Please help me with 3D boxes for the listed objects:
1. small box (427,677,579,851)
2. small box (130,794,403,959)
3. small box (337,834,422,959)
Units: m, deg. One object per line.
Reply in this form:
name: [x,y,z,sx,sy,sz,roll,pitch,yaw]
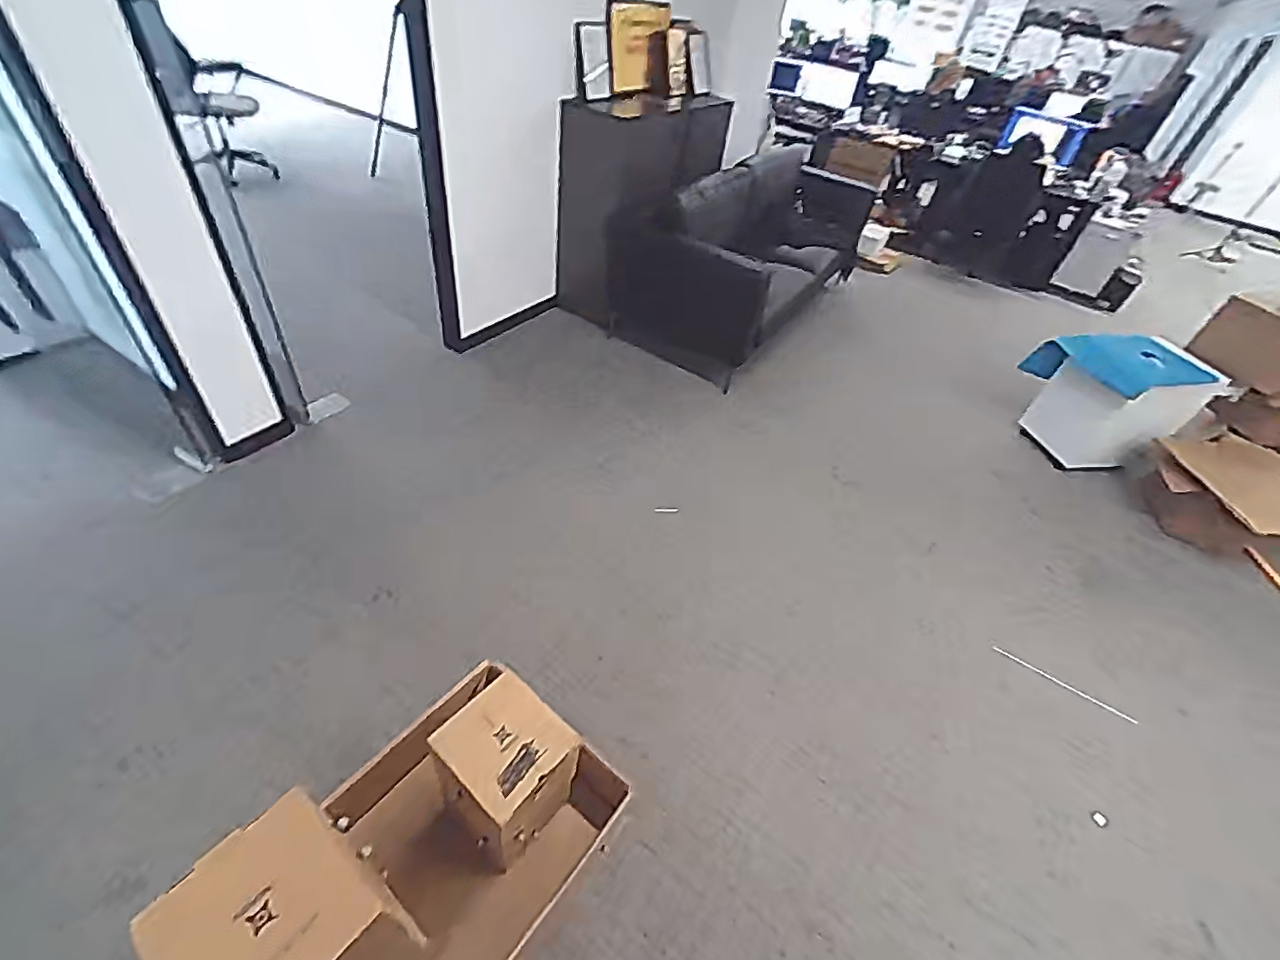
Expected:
small box: [-0.221,0.471,0.892,0.179,0.176,0.168,34,47,23]
small box: [-0.389,0.497,0.590,0.179,0.176,0.168,34,49,24]
small box: [-0.411,0.615,0.700,0.179,0.176,0.168,35,49,24]
